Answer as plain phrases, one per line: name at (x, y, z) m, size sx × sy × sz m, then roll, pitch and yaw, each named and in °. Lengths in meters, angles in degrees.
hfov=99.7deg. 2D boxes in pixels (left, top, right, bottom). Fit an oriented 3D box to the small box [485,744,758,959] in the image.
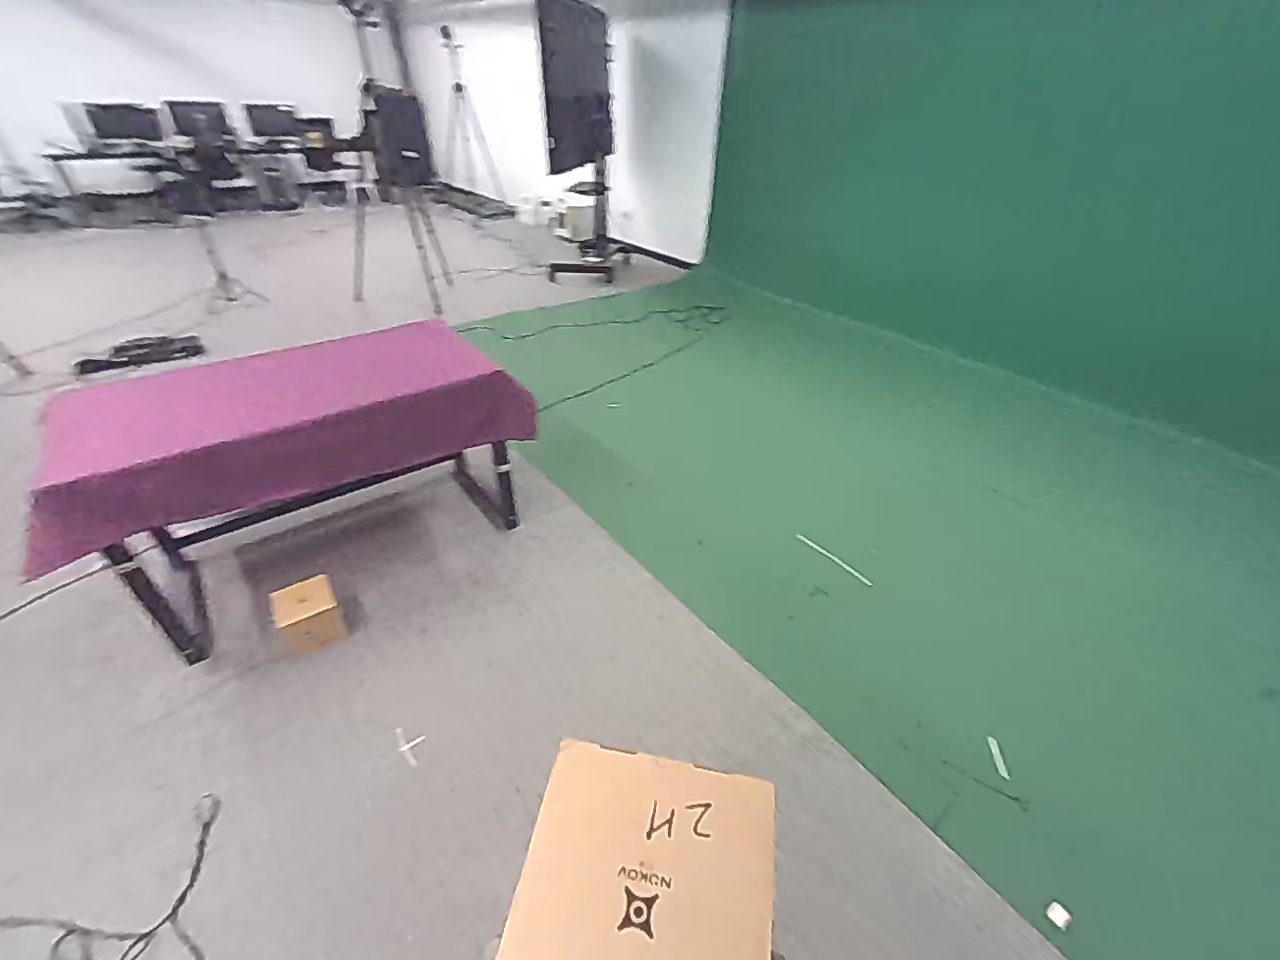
small box at (-0.006, 0.338, 0.415) m, size 0.168 × 0.176 × 0.179 m, roll 8°, pitch 44°, yaw 9°
